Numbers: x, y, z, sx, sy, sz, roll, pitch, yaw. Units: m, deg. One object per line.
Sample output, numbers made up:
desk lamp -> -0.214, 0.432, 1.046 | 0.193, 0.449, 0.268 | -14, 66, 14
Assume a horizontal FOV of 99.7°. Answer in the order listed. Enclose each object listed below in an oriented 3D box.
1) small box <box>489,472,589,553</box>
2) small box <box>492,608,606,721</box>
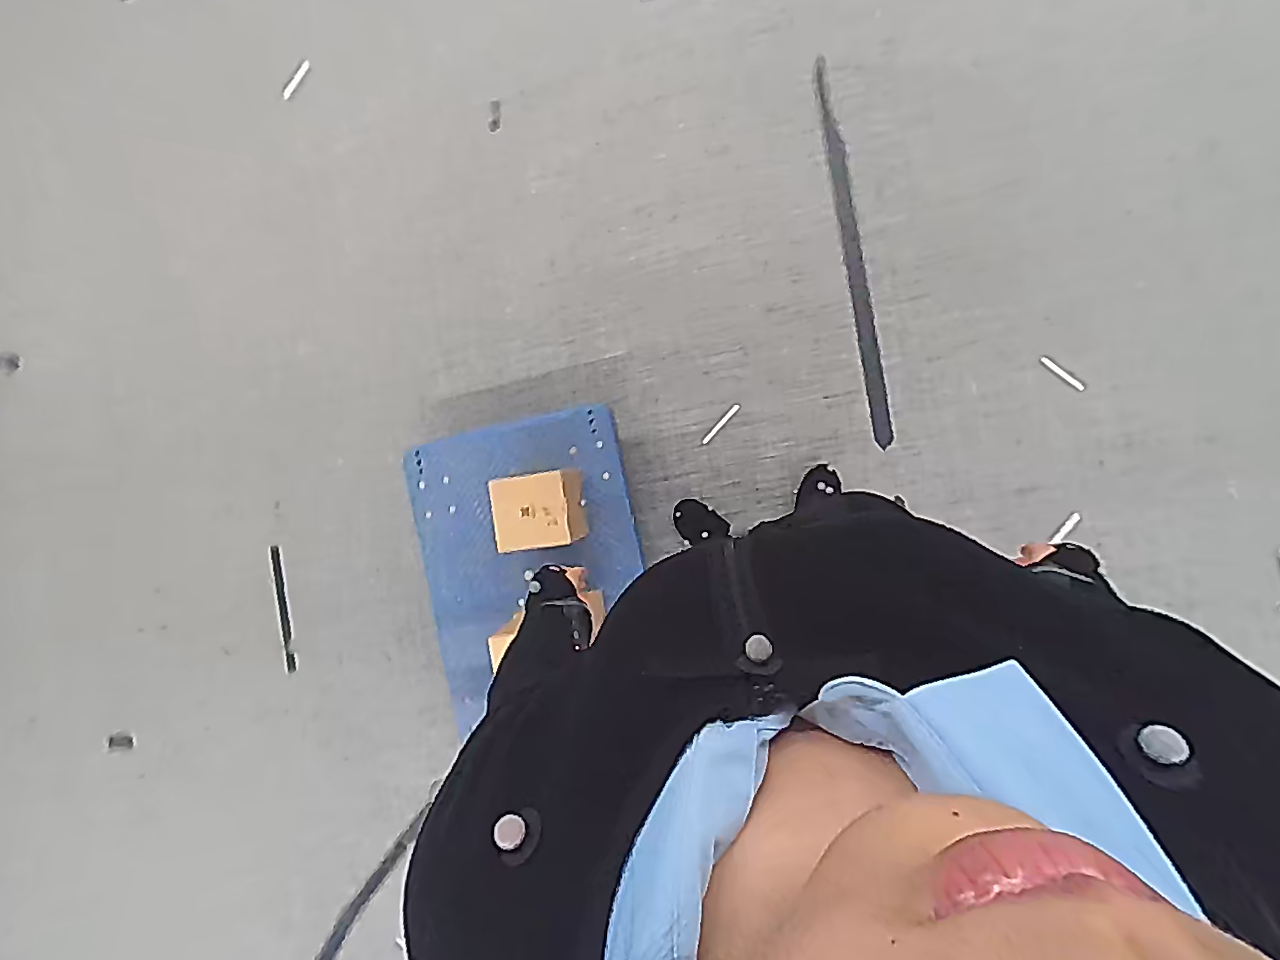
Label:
small box -> -0.233, 0.072, 1.284 | 0.179, 0.176, 0.168 | -8, 91, 8
small box -> -0.182, 0.375, 1.121 | 0.179, 0.176, 0.168 | -11, 90, 7
